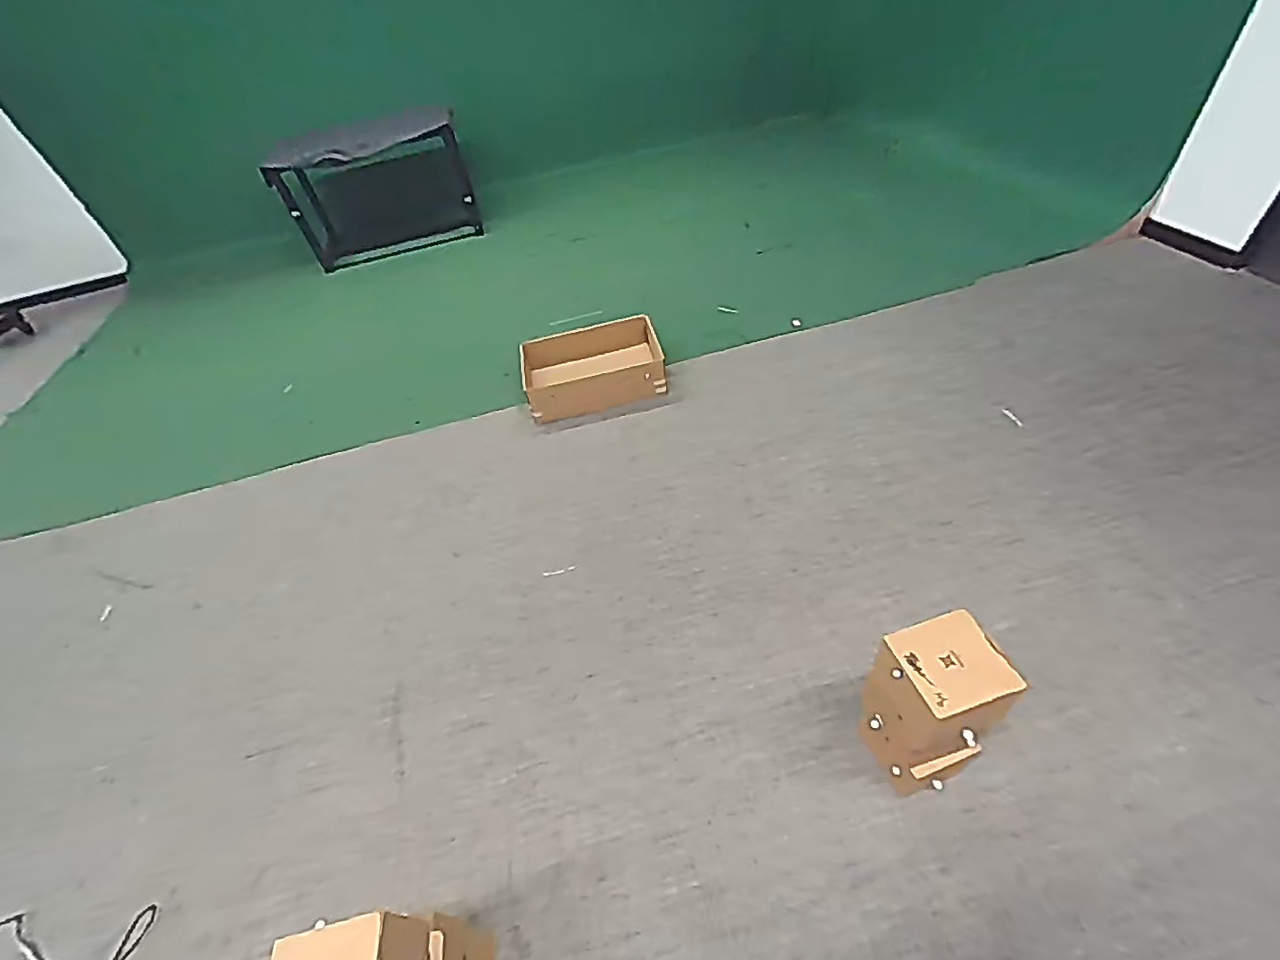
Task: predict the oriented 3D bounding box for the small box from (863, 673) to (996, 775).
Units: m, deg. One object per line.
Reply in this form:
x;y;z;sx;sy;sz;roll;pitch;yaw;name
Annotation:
0.604;0.501;1.157;0.179;0.176;0.168;-17;45;-4;small box

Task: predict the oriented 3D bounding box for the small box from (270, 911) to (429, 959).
-0.454;0.800;0.837;0.179;0.176;0.168;-14;46;-1;small box

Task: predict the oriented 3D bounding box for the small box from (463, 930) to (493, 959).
-0.400;1.023;1.073;0.179;0.176;0.168;-14;45;-2;small box

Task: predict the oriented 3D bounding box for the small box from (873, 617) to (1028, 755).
0.577;0.395;1.034;0.179;0.176;0.168;-16;45;-5;small box

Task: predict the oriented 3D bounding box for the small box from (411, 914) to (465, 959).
-0.427;0.902;0.964;0.179;0.176;0.168;-14;45;-1;small box
